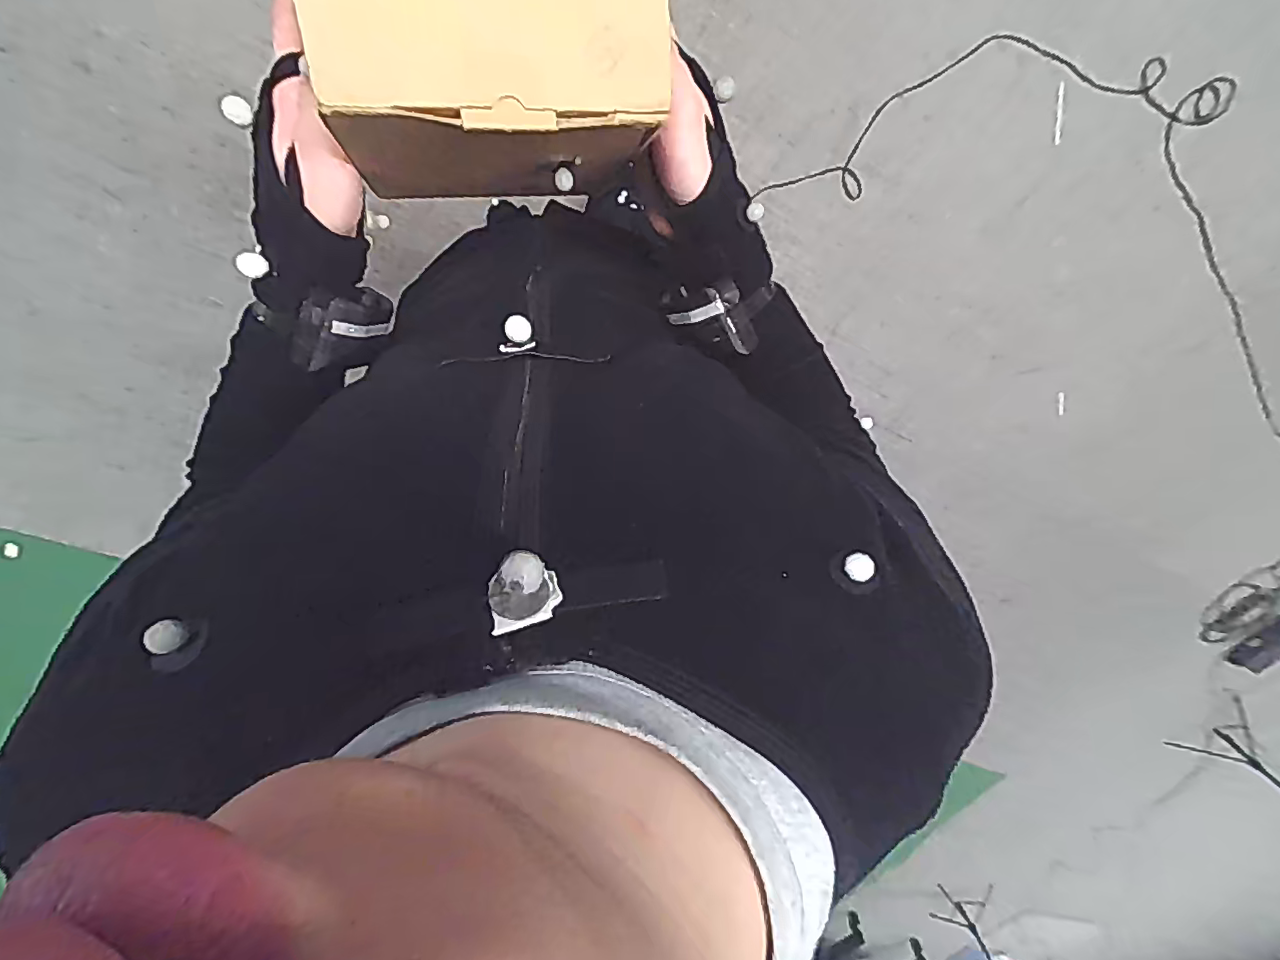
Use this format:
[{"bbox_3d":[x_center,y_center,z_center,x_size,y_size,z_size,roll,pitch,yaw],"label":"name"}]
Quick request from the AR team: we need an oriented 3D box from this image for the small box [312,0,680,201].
[{"bbox_3d":[-0.085,-0.270,0.310,0.168,0.176,0.179,-9,106,-15],"label":"small box"}]
